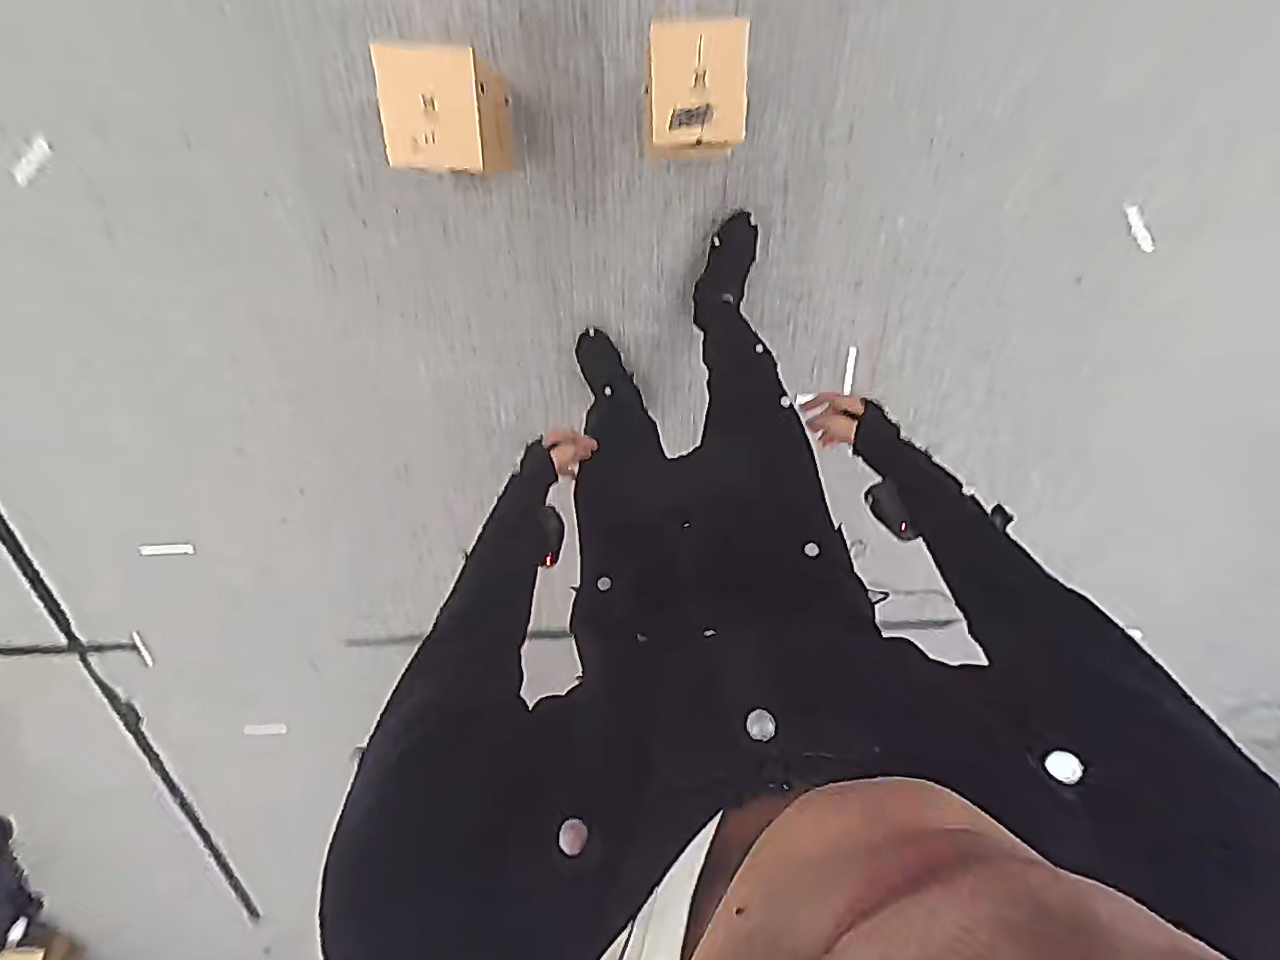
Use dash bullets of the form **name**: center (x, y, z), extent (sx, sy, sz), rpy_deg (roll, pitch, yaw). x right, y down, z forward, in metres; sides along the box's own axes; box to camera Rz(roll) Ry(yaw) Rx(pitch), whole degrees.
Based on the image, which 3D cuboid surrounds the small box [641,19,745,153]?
- **small box**: center (0.089, -0.706, 0.989), extent (0.168, 0.176, 0.179), rpy_deg (-4, 115, -2)

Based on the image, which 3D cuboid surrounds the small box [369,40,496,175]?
- **small box**: center (-0.363, -0.661, 0.979), extent (0.168, 0.176, 0.179), rpy_deg (1, 117, -3)

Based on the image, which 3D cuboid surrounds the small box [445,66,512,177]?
- **small box**: center (-0.365, -0.739, 1.124), extent (0.168, 0.176, 0.179), rpy_deg (1, 116, -4)

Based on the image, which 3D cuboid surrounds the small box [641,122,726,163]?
- **small box**: center (0.090, -0.774, 1.139), extent (0.168, 0.176, 0.179), rpy_deg (-4, 116, -2)
